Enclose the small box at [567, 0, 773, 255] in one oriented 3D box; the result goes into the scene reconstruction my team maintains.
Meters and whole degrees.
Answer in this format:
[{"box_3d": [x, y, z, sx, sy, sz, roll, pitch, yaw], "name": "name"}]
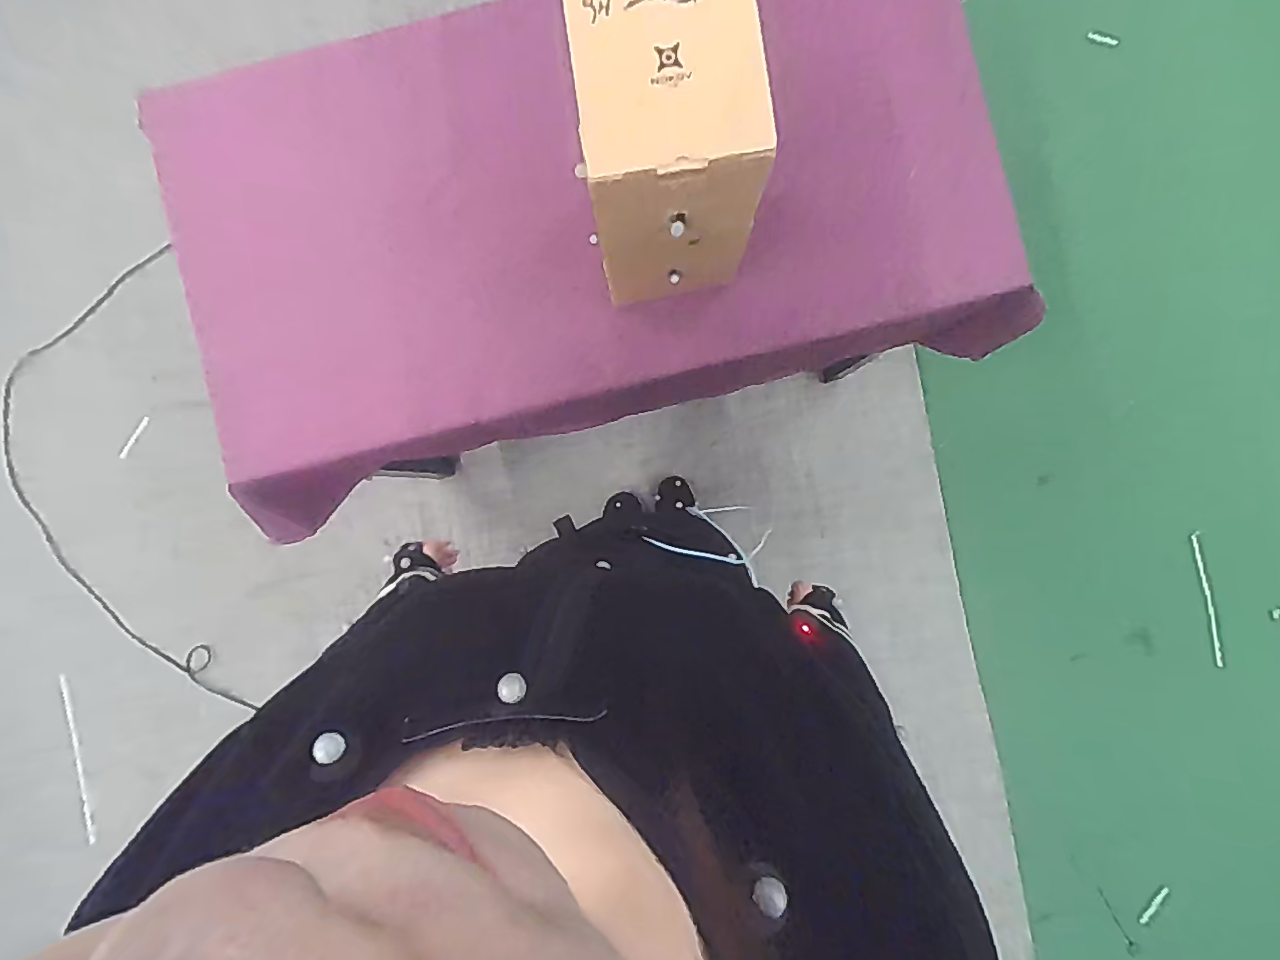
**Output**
[{"box_3d": [0.028, -0.346, 0.548, 0.168, 0.176, 0.179, -7, 89, 1], "name": "small box"}]
